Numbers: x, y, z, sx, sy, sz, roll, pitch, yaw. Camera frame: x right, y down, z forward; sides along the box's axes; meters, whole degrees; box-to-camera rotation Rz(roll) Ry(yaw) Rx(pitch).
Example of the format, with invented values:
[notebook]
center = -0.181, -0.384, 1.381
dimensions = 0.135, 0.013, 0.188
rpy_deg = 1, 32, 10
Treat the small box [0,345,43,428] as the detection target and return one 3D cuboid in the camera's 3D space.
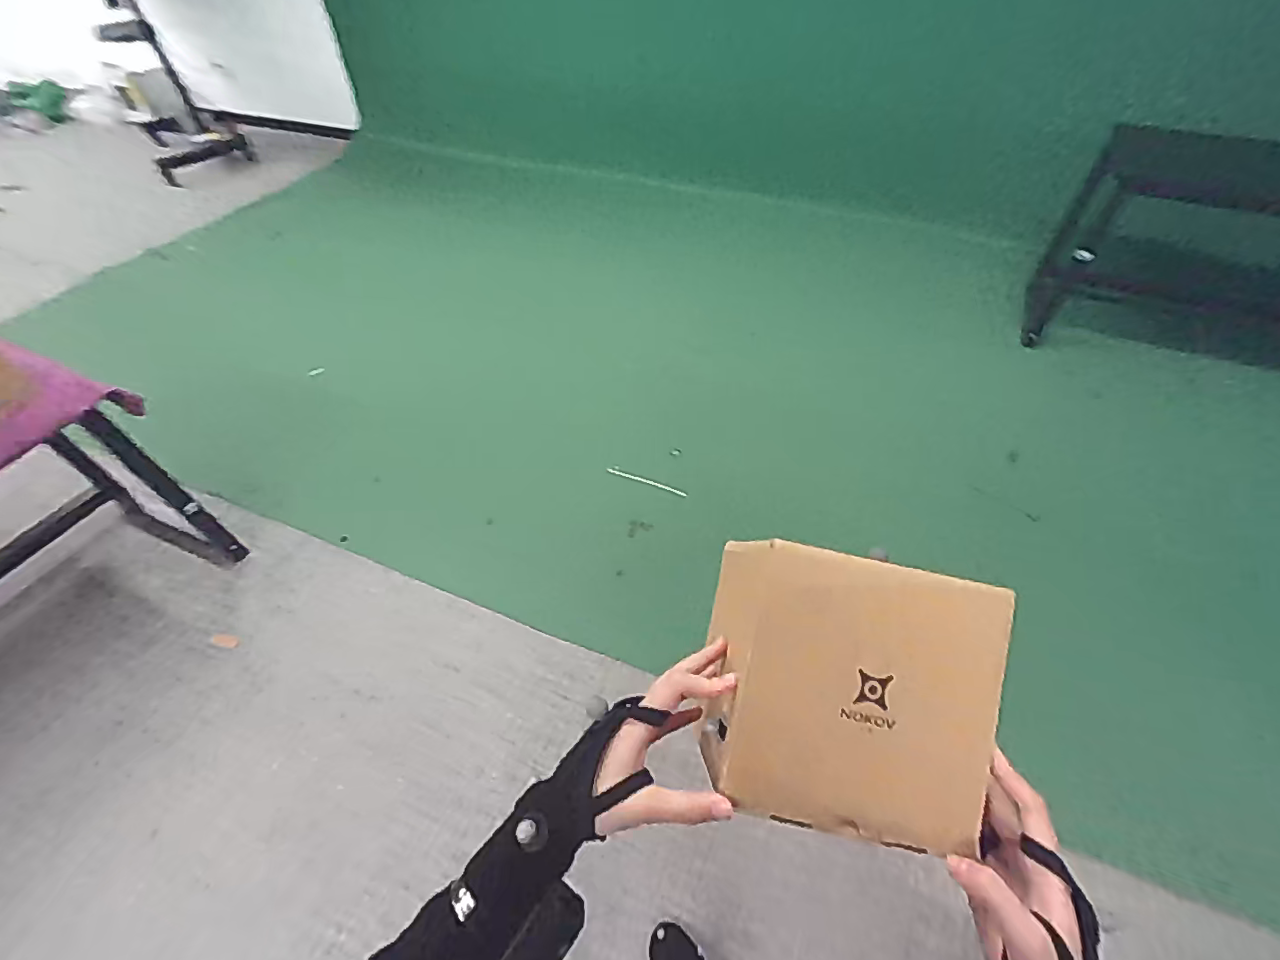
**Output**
[small box]
center = -1.432, -0.203, 1.131
dimensions = 0.168, 0.176, 0.179
rpy_deg = 15, 52, 14
